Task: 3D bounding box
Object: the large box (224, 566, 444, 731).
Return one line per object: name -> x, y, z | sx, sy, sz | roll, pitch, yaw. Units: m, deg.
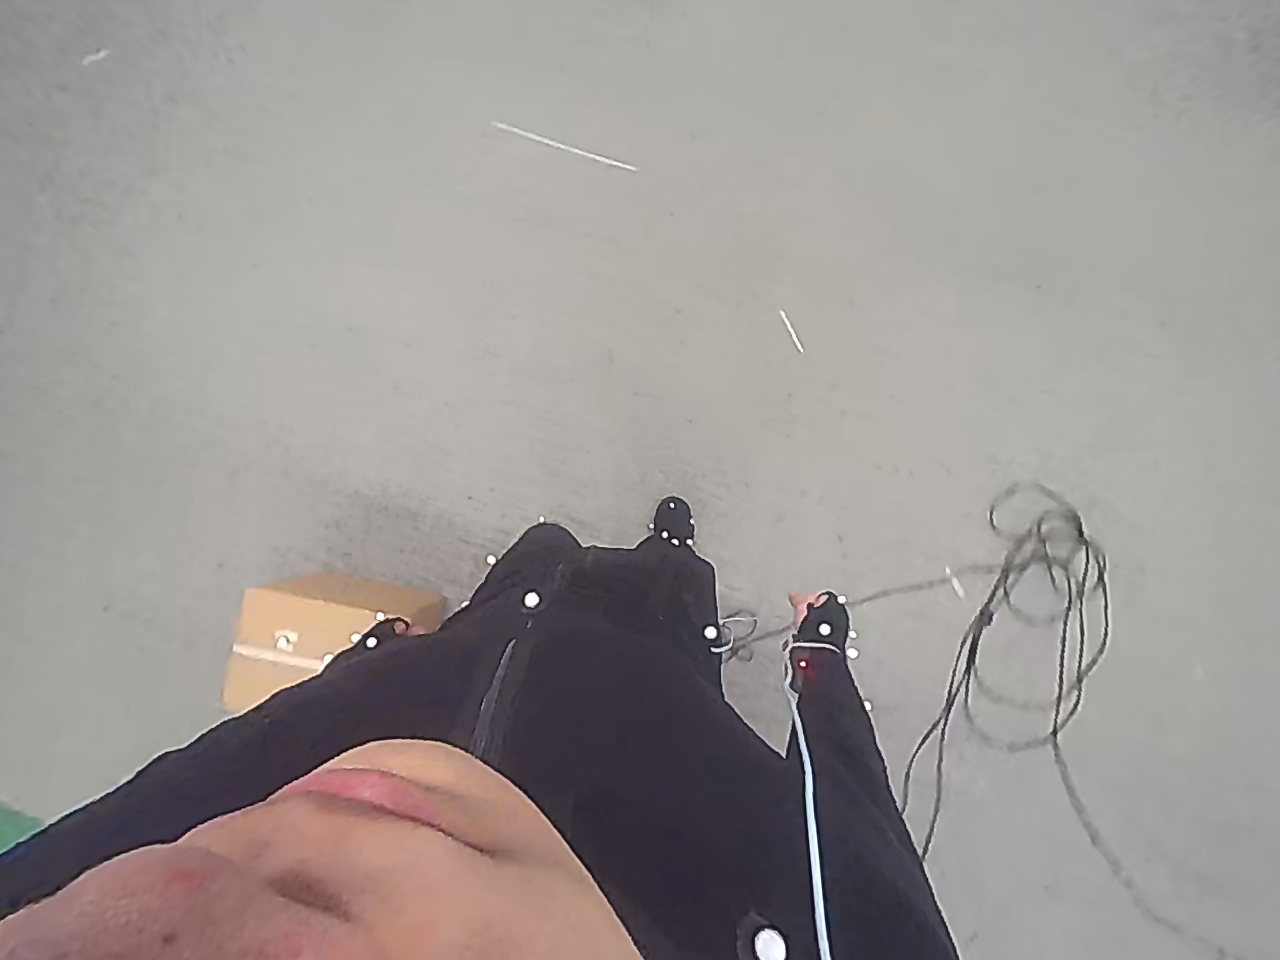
large box -> -0.818, 0.444, 1.502 | 0.408, 0.320, 0.320 | 12, 88, 4
